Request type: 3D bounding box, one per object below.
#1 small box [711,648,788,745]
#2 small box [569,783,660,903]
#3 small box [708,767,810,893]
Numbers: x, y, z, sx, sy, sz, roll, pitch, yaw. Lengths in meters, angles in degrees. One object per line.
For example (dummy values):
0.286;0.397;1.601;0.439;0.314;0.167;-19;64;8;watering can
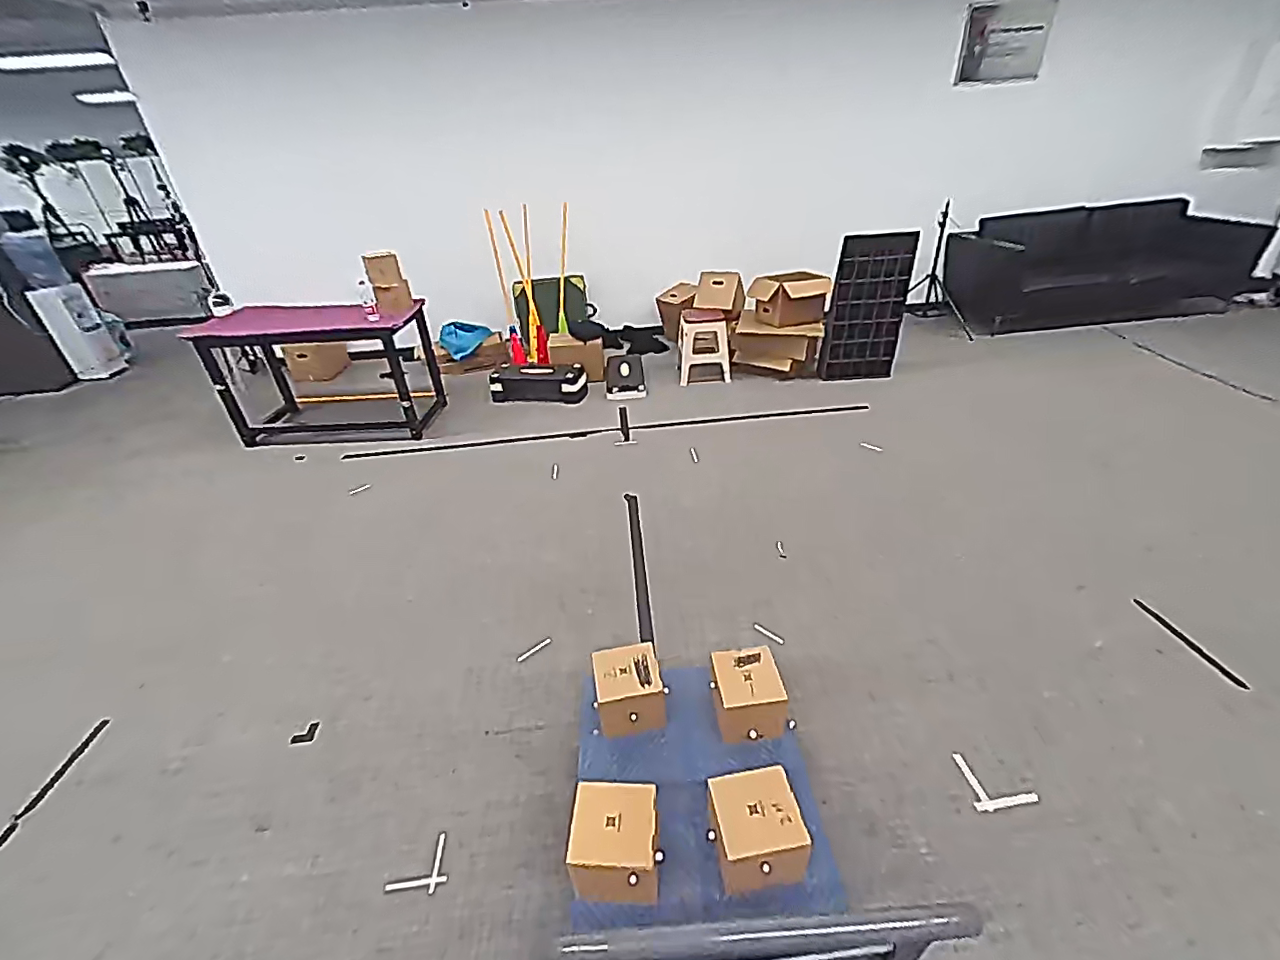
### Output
0.290;0.588;1.474;0.168;0.176;0.179;-6;33;-3;small box
-0.049;0.794;1.186;0.179;0.176;0.168;0;31;4;small box
0.254;0.770;1.189;0.179;0.176;0.168;-7;32;-5;small box
